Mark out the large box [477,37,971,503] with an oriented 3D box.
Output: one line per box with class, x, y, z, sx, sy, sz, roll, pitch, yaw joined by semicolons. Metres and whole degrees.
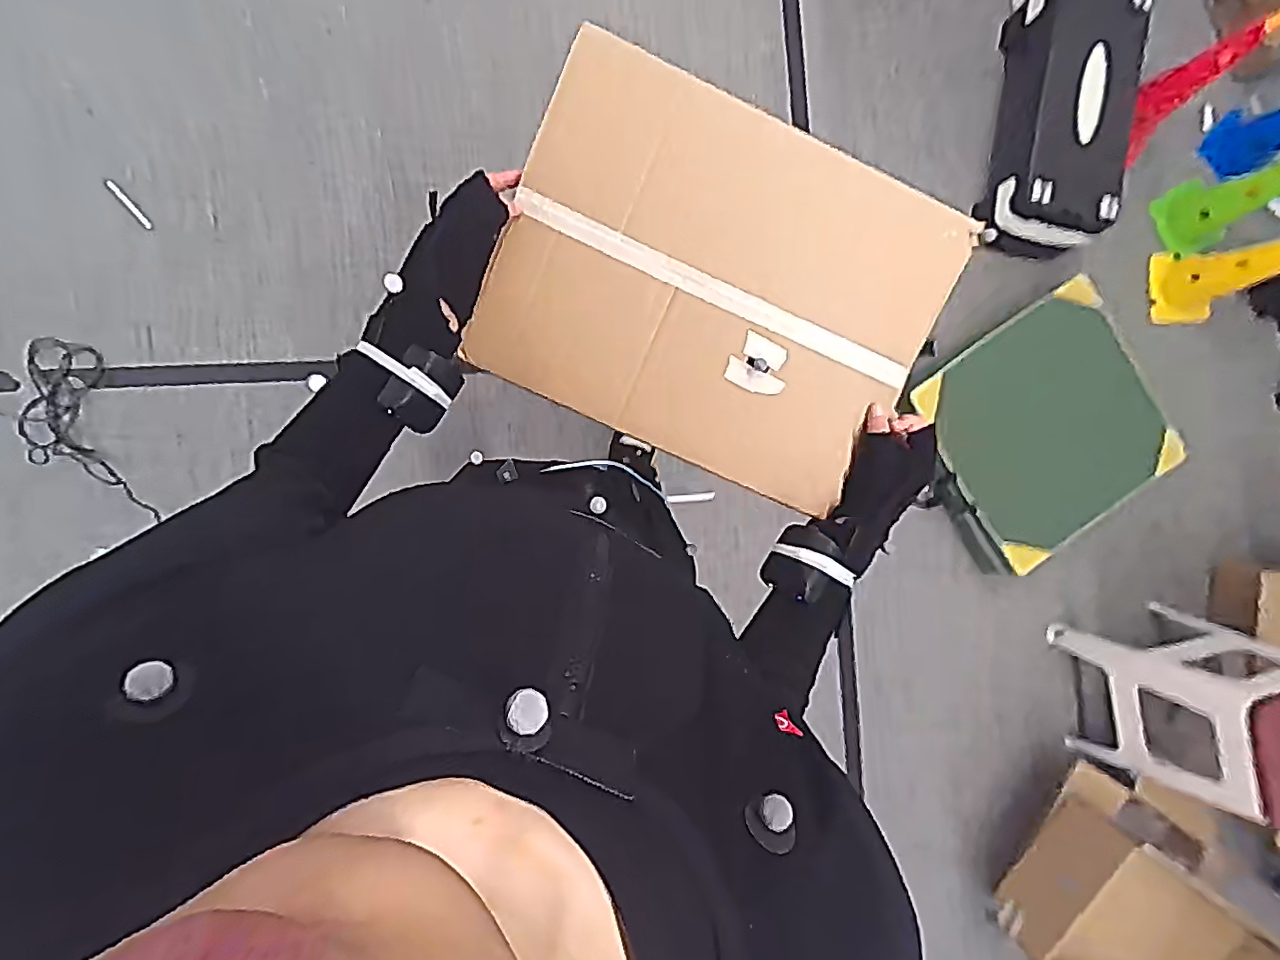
large box;0.073;-0.212;0.668;0.408;0.320;0.320;24;99;-6
